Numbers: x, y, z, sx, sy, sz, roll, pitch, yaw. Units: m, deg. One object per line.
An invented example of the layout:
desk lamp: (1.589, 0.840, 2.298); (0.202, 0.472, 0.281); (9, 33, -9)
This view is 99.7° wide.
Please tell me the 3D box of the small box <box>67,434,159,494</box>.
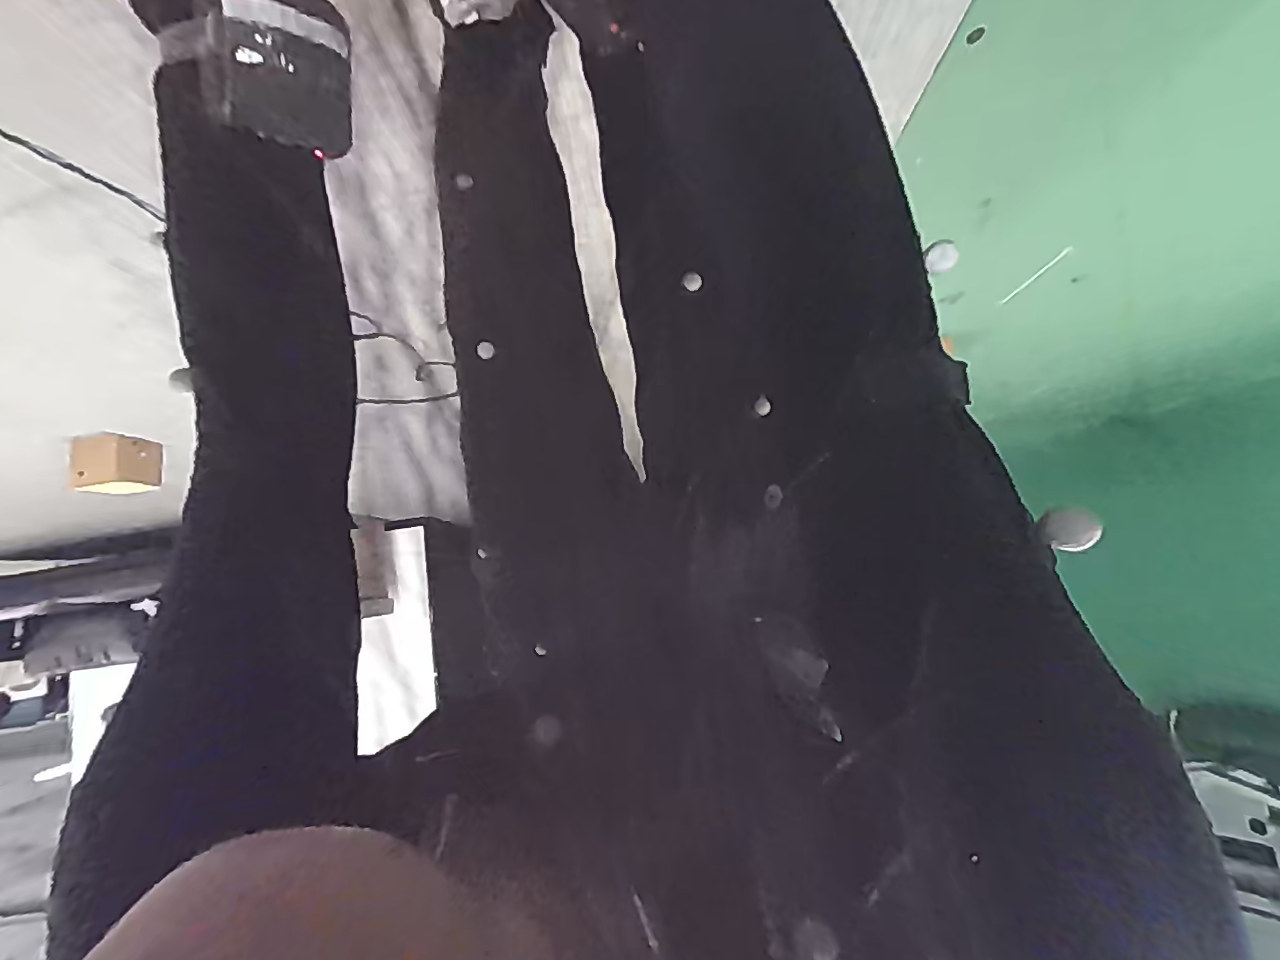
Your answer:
small box: (-1.829, -0.053, 1.885); (0.179, 0.176, 0.168); (-9, 172, 4)
